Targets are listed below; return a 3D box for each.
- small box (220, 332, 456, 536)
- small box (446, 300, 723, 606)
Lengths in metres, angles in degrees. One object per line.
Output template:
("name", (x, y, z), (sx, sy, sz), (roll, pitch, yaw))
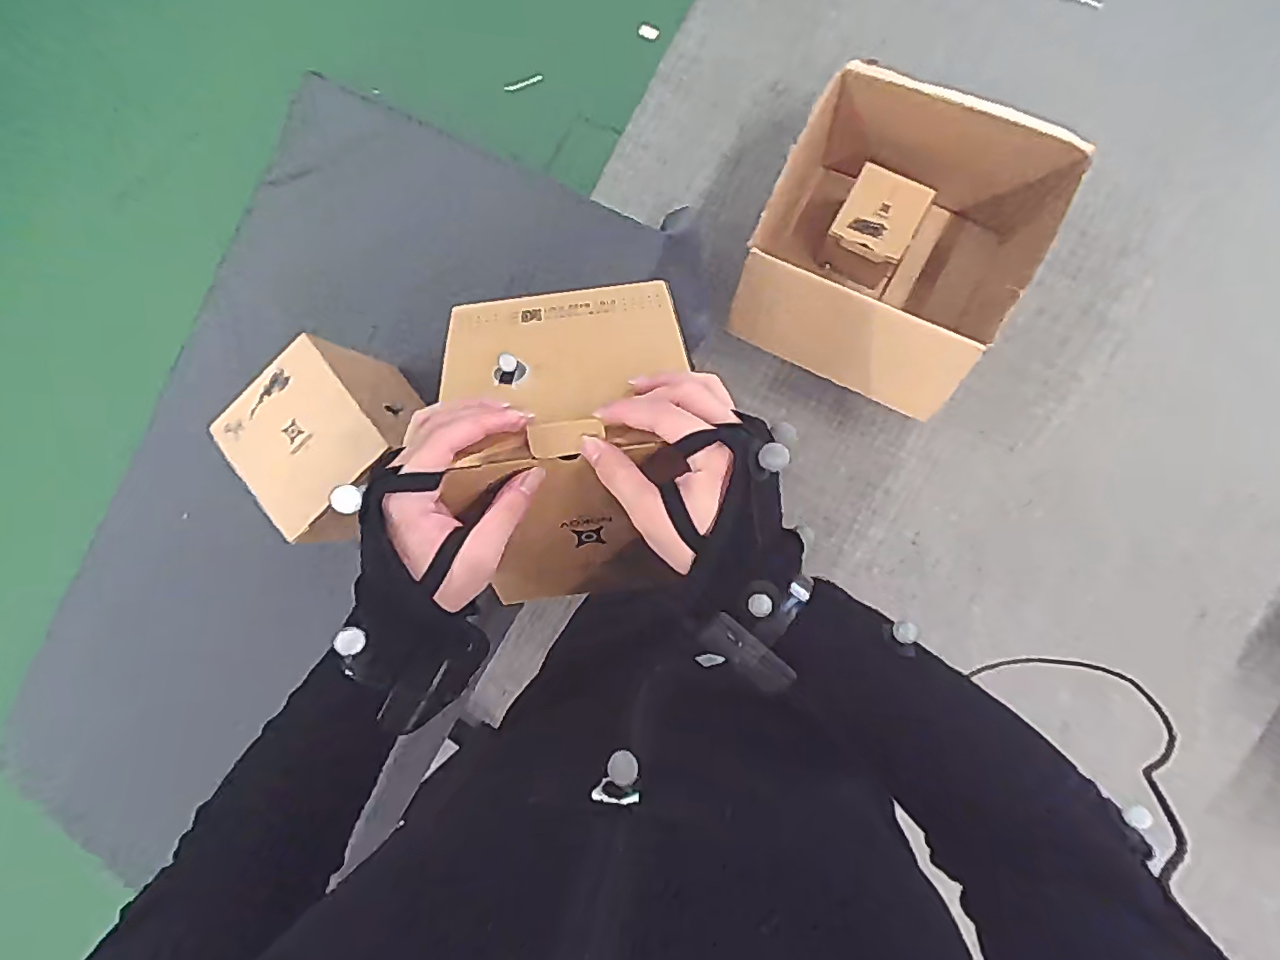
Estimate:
("small box", (-0.360, -0.052, 0.686), (0.168, 0.176, 0.179), (-41, 82, 7))
("small box", (-0.040, -0.024, 0.424), (0.168, 0.179, 0.176), (-6, 52, -3))
